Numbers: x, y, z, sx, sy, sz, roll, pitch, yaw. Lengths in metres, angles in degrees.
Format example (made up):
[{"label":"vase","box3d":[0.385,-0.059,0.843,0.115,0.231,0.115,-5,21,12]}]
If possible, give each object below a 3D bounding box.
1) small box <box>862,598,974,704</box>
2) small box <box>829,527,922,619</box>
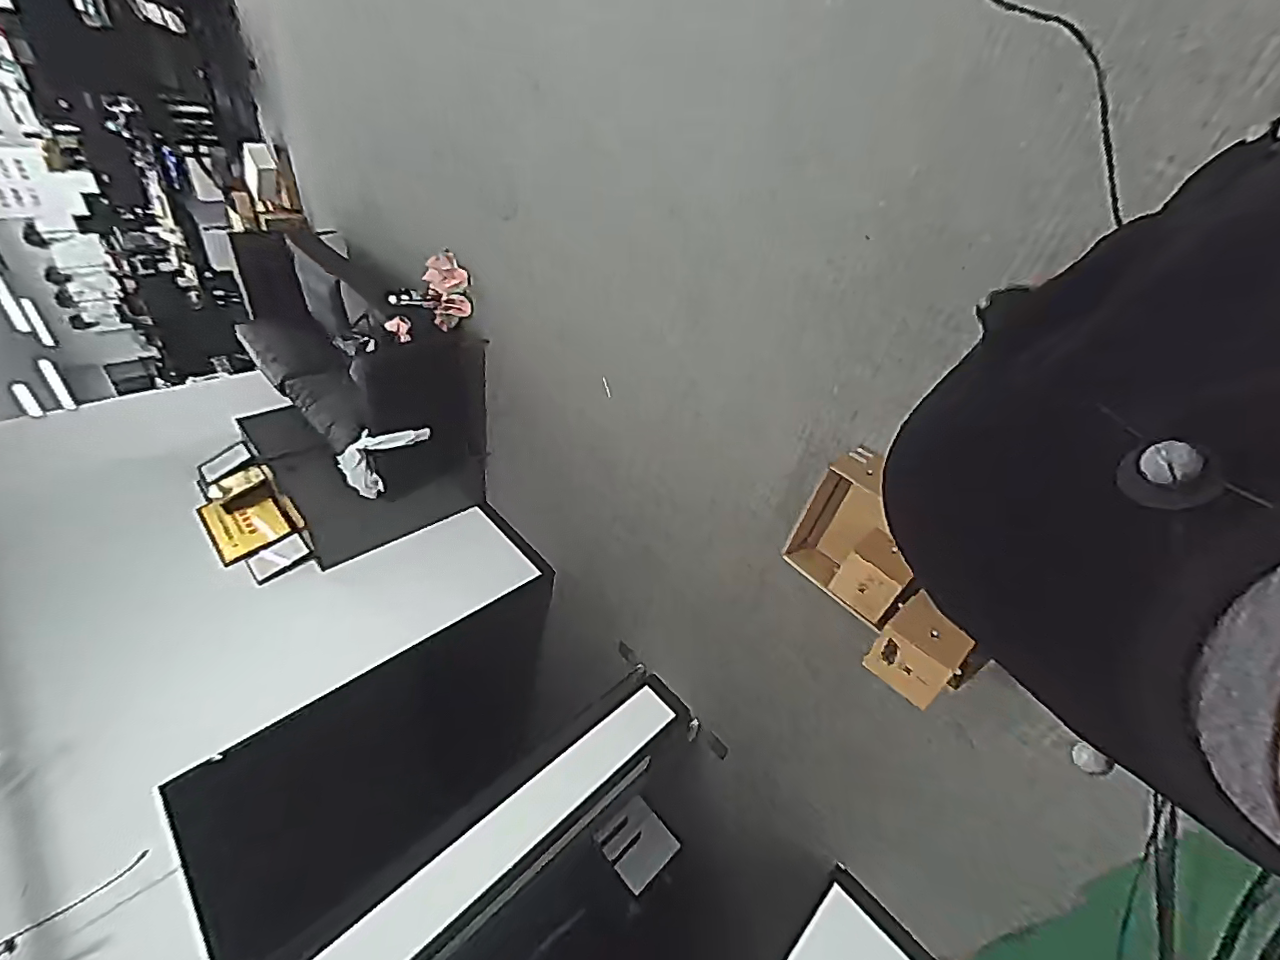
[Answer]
[{"label":"small box","box3d":[0.723,0.434,1.408,0.179,0.176,0.168,37,134,31]},{"label":"small box","box3d":[0.703,0.273,1.611,0.168,0.176,0.179,40,136,27]}]
